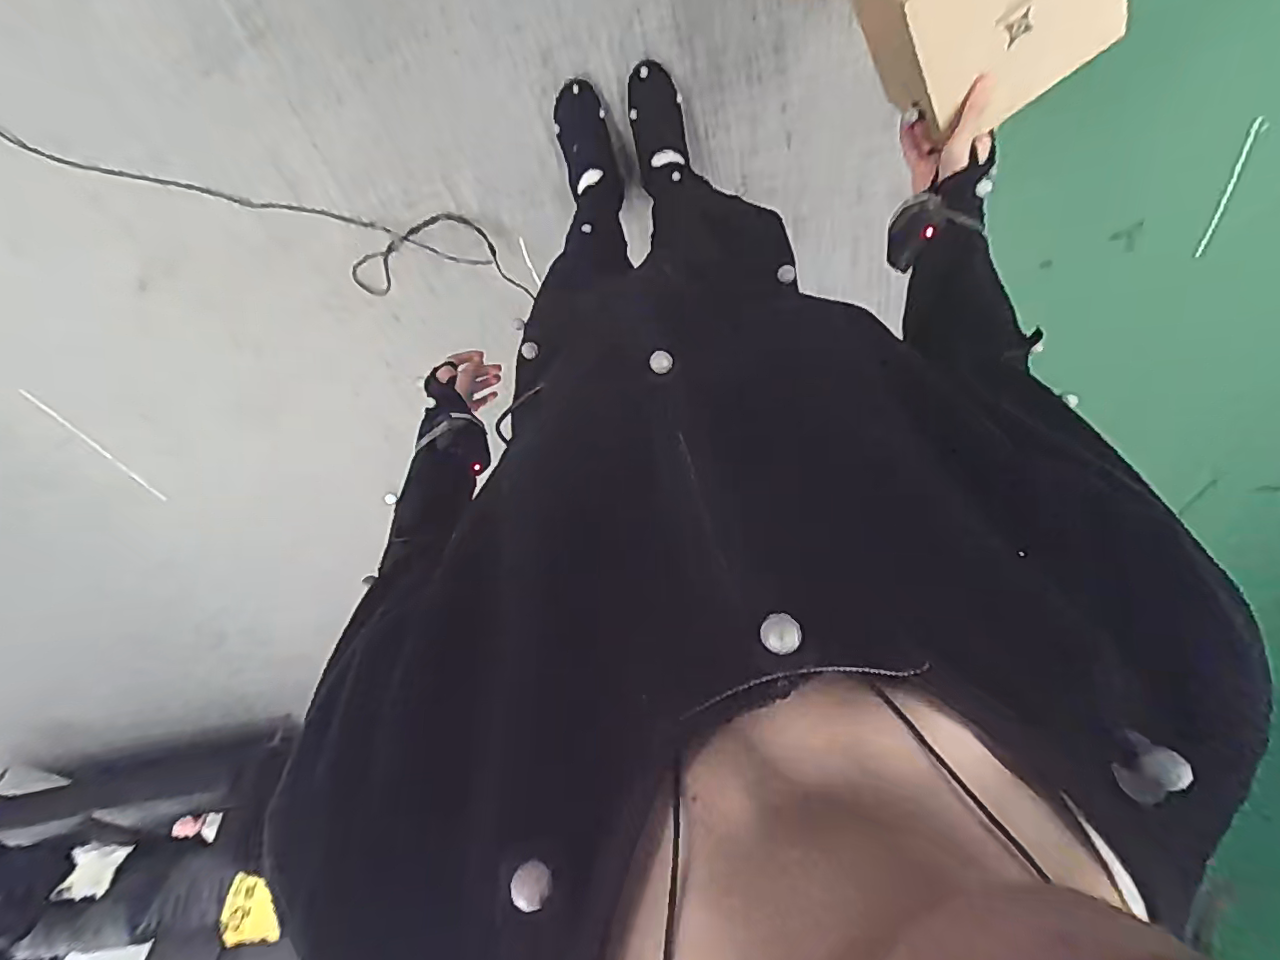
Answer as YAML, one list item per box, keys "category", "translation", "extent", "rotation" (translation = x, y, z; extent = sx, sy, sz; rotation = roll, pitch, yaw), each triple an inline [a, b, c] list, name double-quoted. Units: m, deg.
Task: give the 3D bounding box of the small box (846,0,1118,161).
- category: "small box"
  translation: [0.328, -0.477, 0.539]
  extent: [0.168, 0.176, 0.179]
  rotation: [-31, 138, 25]
